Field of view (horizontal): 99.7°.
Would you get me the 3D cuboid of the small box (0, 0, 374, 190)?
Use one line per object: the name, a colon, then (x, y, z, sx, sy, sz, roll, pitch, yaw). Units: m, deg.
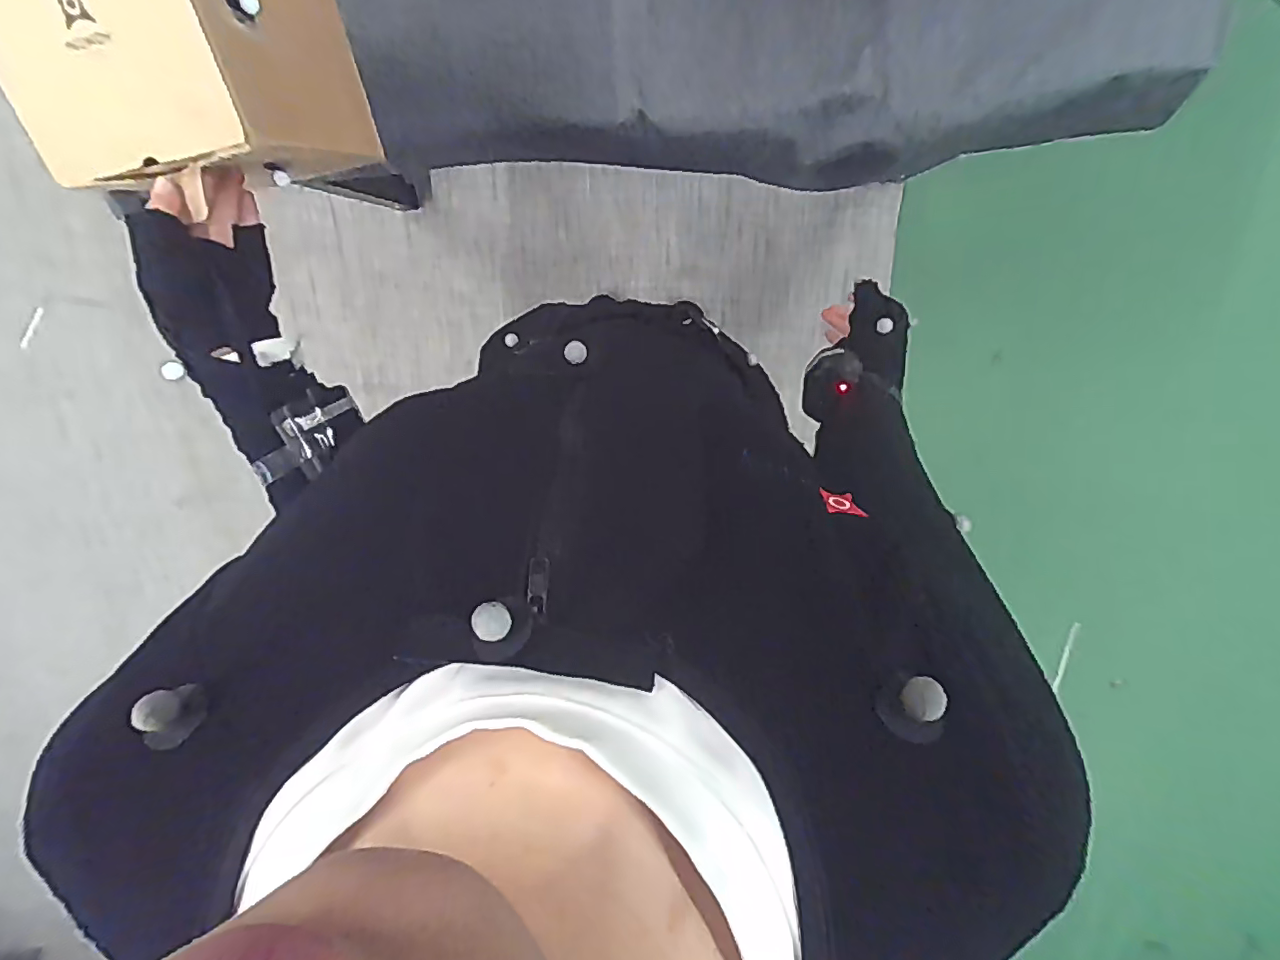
small box: (-0.336, -0.327, 0.400, 0.168, 0.176, 0.179, -5, 116, 11)
